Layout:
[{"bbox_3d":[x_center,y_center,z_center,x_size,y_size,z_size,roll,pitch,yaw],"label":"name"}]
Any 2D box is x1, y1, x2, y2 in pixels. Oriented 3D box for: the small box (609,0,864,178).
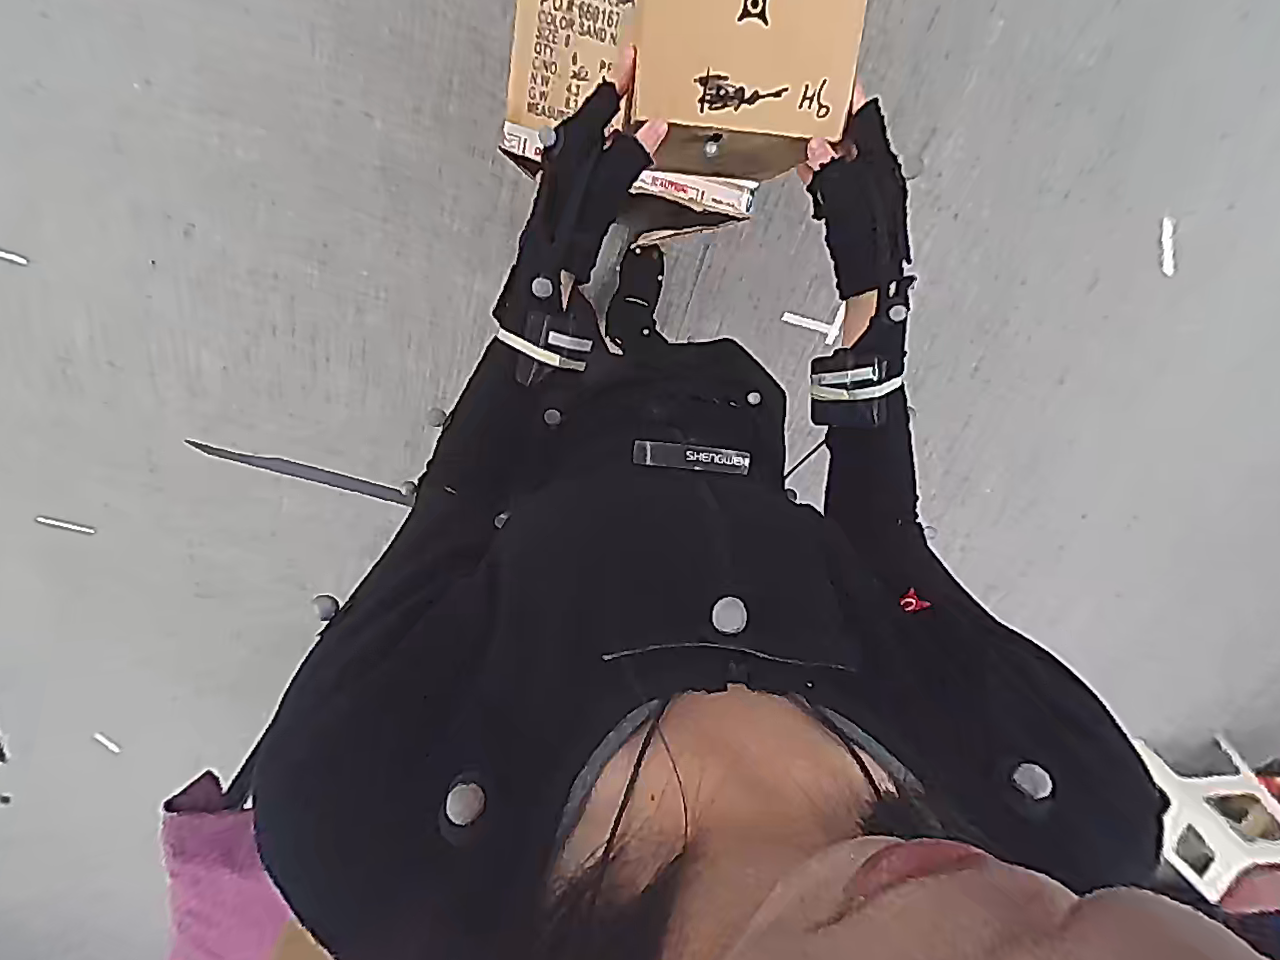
[{"bbox_3d":[0.065,-0.369,0.443,0.168,0.176,0.179,0,109,-9],"label":"small box"}]
